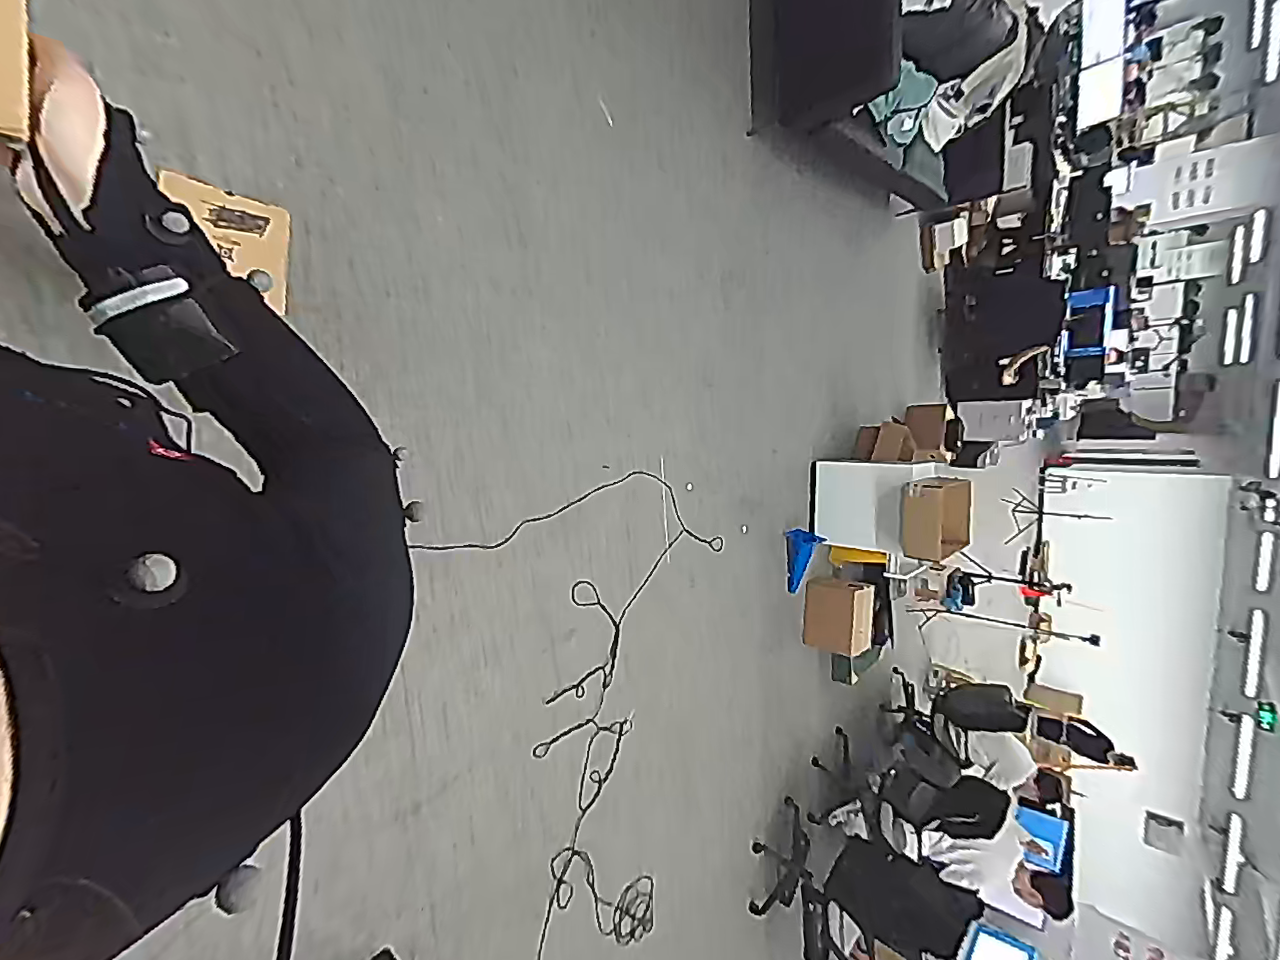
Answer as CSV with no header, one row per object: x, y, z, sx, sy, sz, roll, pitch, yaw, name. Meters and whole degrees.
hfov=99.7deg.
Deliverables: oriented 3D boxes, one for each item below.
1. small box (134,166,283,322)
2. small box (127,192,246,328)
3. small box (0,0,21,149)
-0.712,-0.372,0.891,0.168,0.176,0.179,3,94,-47,small box
-0.832,-0.393,1.002,0.168,0.176,0.179,0,95,-47,small box
-0.433,-0.291,0.263,0.168,0.176,0.179,-2,113,-51,small box
